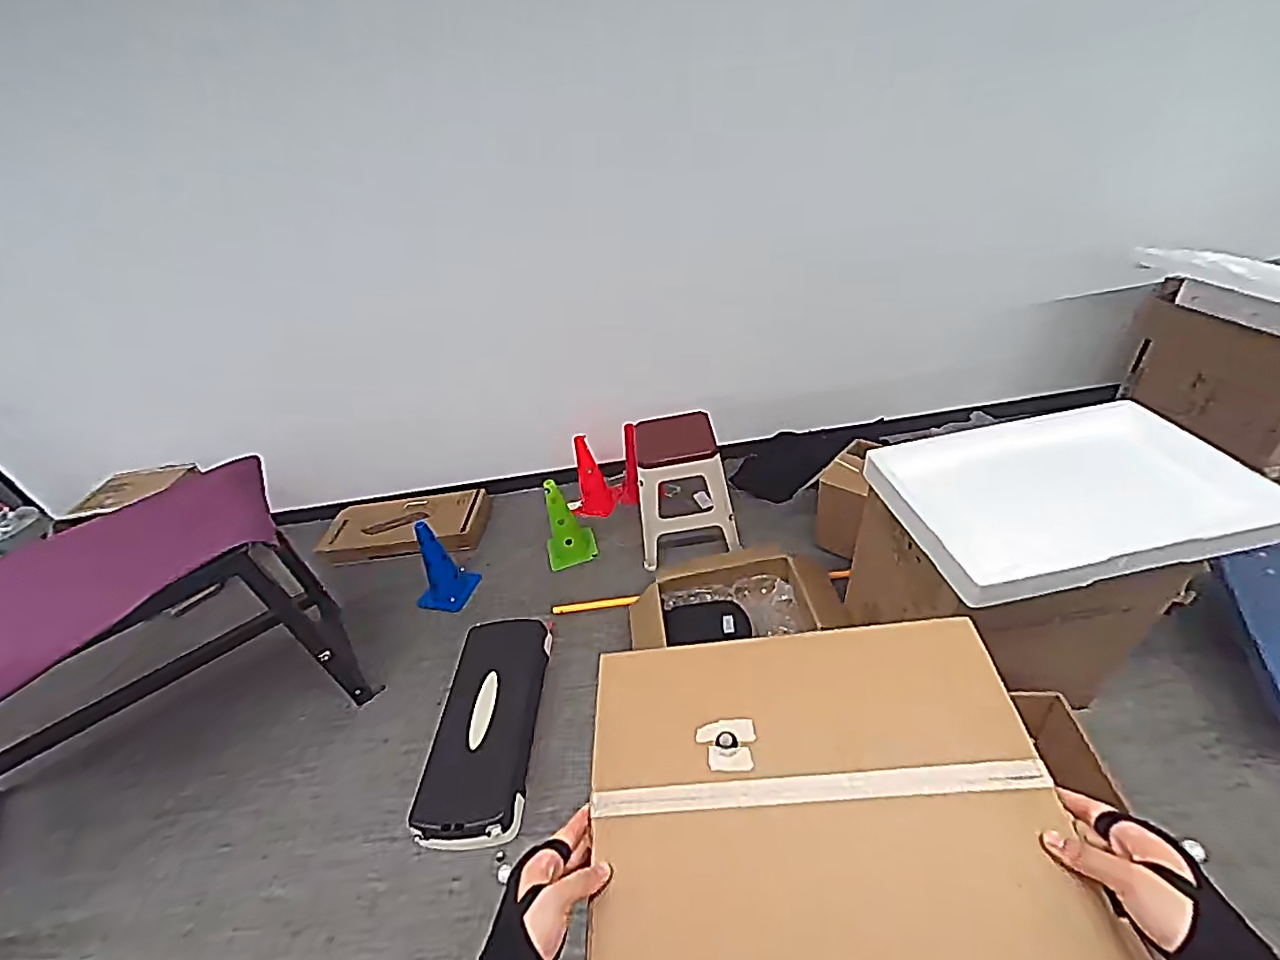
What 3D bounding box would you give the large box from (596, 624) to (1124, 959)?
[{"bbox_3d":[0.187,0.398,0.604,0.408,0.320,0.320,-10,43,8],"label":"large box"}]
